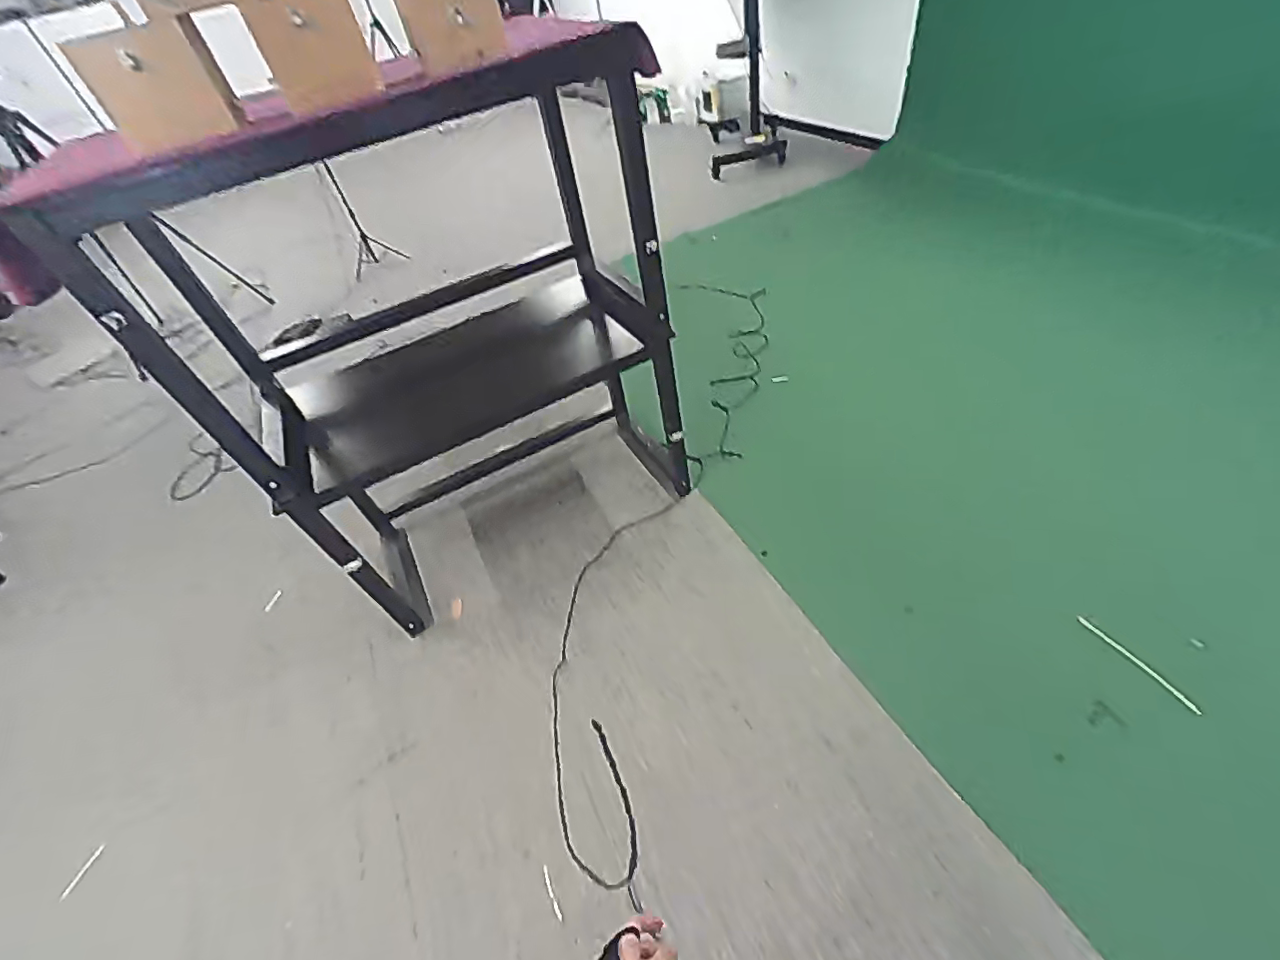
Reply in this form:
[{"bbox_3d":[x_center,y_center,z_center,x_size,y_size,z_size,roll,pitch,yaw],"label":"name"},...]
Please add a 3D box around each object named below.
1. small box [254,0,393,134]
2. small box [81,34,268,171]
[{"bbox_3d":[-0.596,-0.791,1.033,0.179,0.176,0.168,-28,46,-13],"label":"small box"},{"bbox_3d":[-0.820,-0.681,0.976,0.179,0.176,0.168,-23,45,-11],"label":"small box"}]
